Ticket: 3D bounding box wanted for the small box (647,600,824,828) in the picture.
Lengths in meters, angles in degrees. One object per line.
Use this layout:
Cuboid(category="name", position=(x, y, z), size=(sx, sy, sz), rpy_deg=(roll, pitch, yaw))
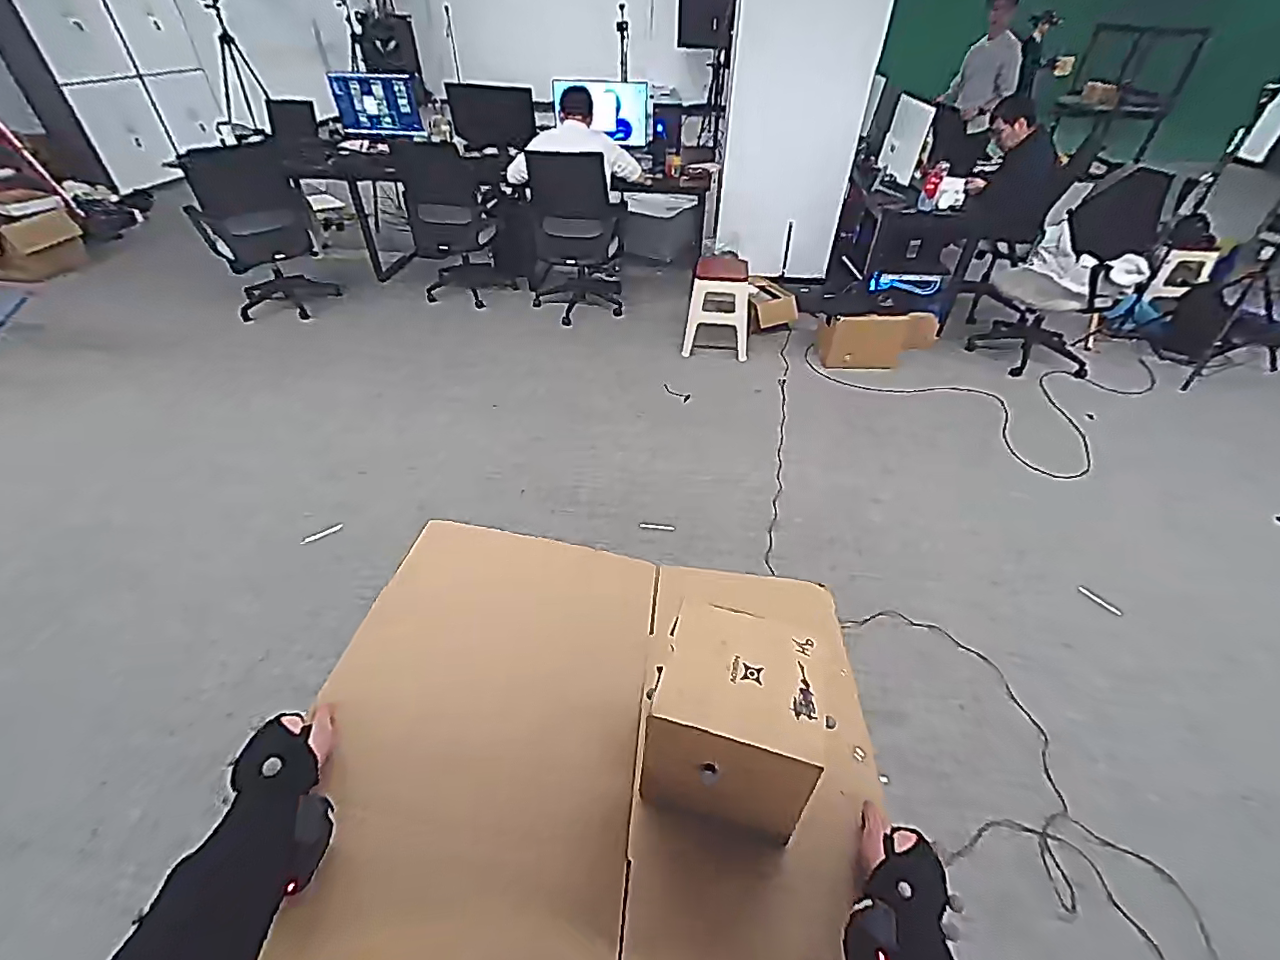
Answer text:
Cuboid(category="small box", position=(0.111, 0.275, 0.642), size=(0.179, 0.176, 0.168), rpy_deg=(11, 36, 12))
